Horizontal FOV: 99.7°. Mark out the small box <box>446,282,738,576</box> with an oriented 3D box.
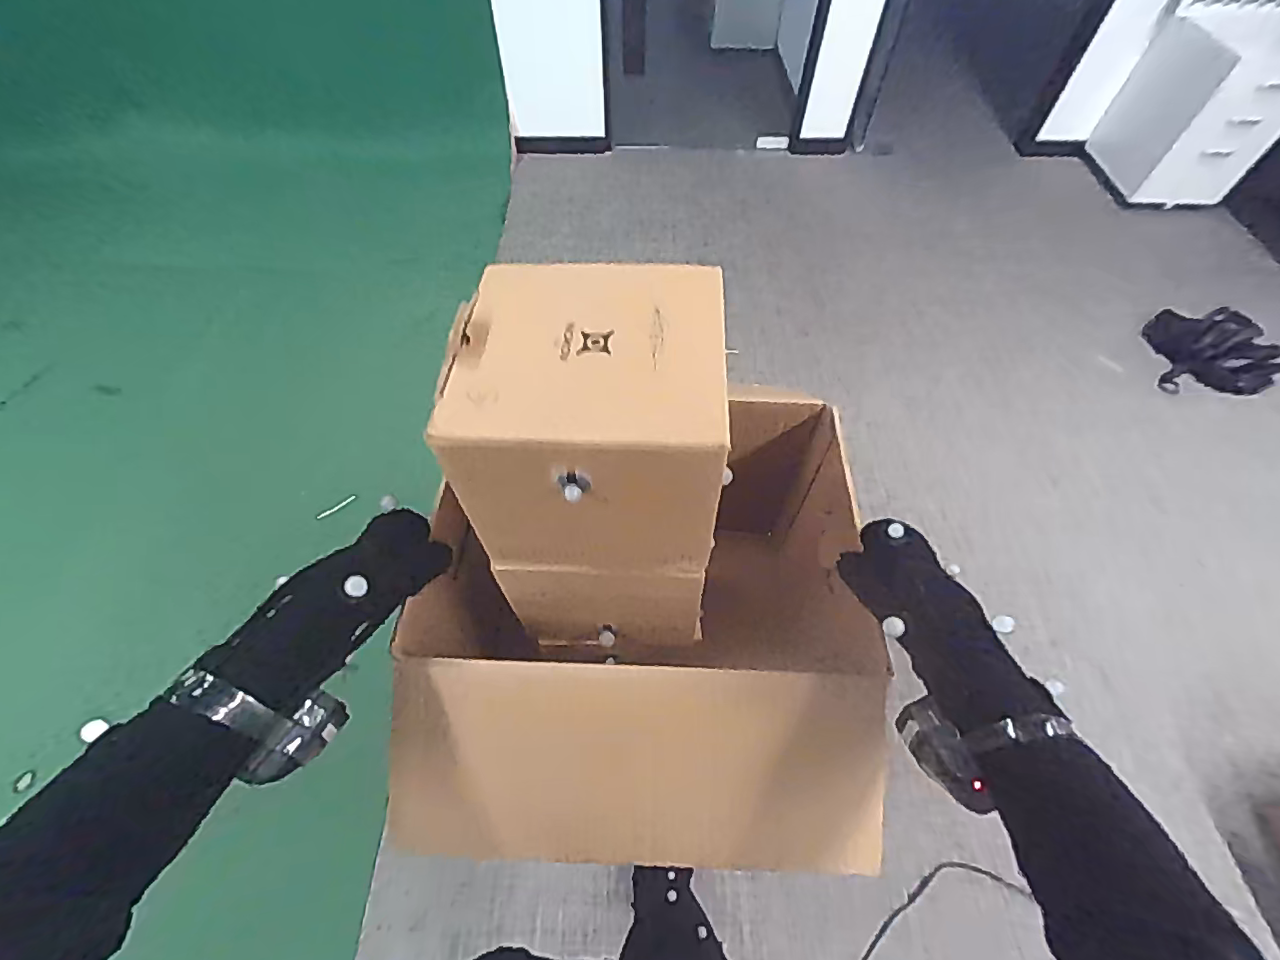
[{"bbox_3d":[-0.025,-0.033,0.425,0.179,0.176,0.168,1,56,1],"label":"small box"}]
